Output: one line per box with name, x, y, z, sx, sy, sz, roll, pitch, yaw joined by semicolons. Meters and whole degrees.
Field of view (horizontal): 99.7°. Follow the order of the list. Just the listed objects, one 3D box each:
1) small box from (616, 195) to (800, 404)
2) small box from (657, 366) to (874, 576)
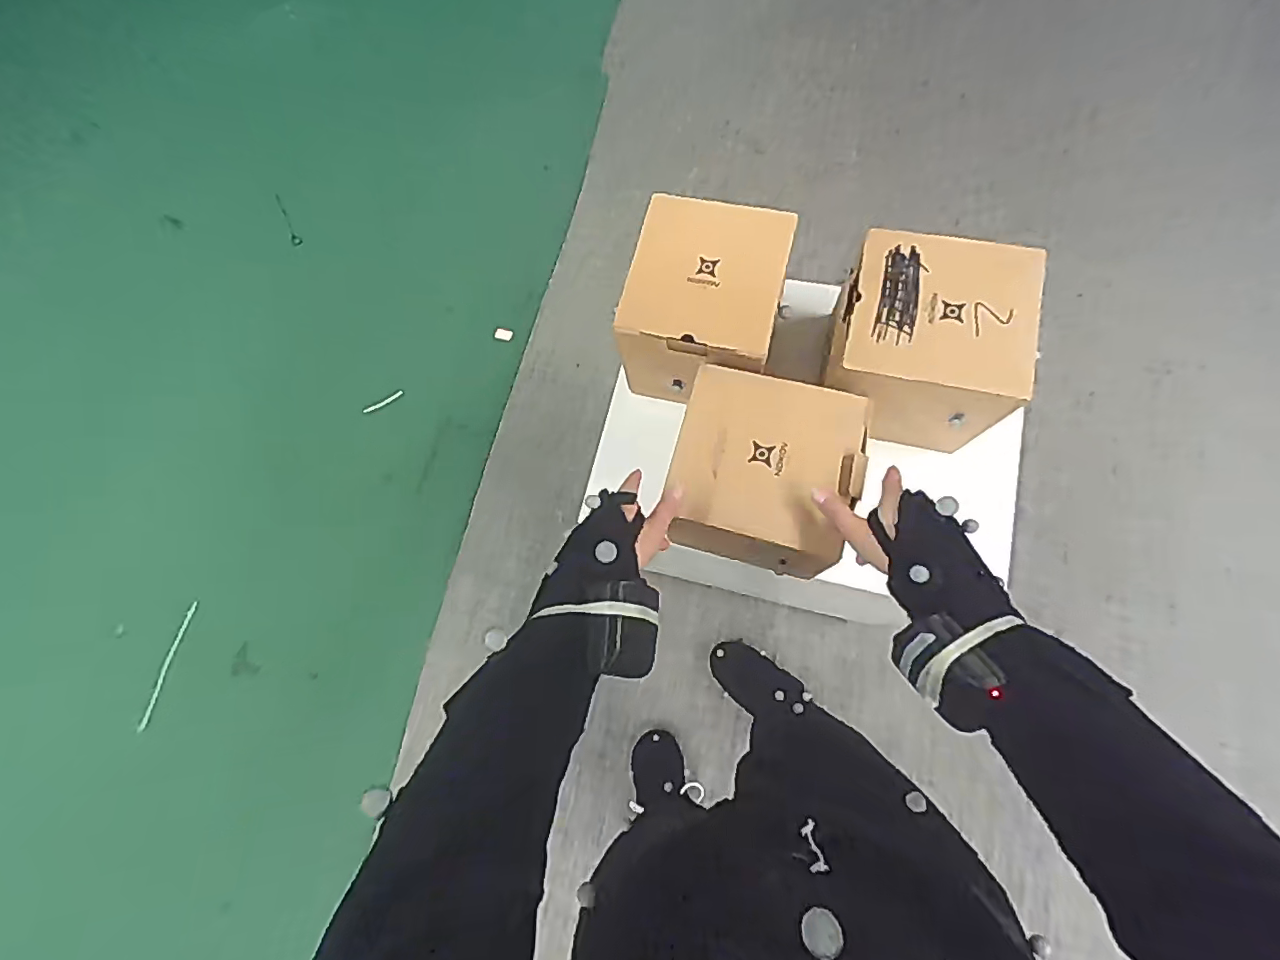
small box;0.080;-0.201;0.654;0.168;0.176;0.179;13;78;9
small box;0.130;0.001;0.592;0.179;0.176;0.168;14;75;12
